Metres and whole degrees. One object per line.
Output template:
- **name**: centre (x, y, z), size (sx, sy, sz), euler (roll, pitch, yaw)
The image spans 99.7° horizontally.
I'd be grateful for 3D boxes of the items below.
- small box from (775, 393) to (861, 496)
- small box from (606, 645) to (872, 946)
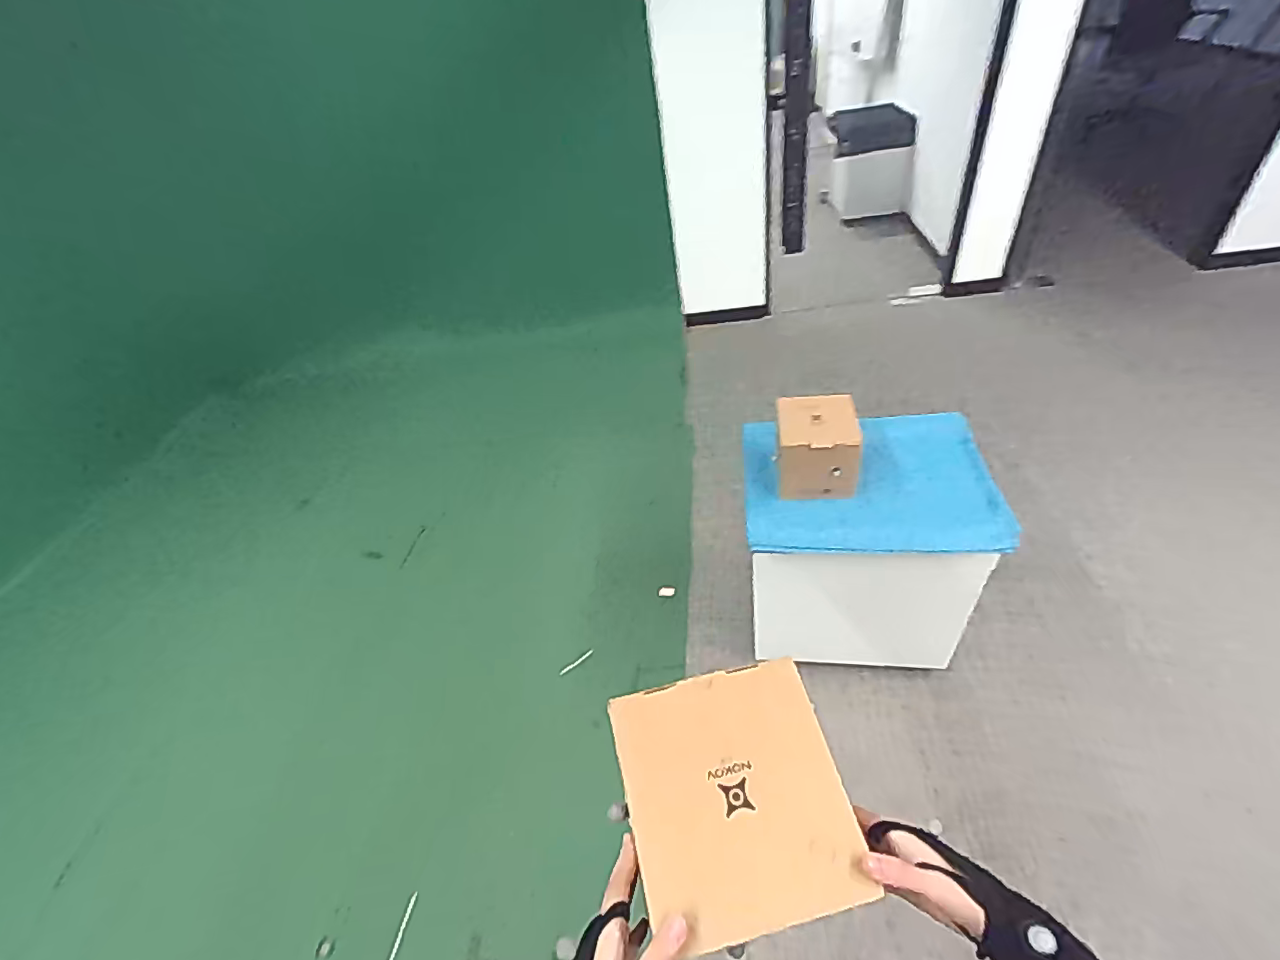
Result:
- **small box**: centre (0.397, -0.077, 1.232), size (0.168, 0.176, 0.179), euler (0, 43, 11)
- **small box**: centre (0.069, 0.271, 0.478), size (0.168, 0.176, 0.179), euler (-10, 55, -6)
